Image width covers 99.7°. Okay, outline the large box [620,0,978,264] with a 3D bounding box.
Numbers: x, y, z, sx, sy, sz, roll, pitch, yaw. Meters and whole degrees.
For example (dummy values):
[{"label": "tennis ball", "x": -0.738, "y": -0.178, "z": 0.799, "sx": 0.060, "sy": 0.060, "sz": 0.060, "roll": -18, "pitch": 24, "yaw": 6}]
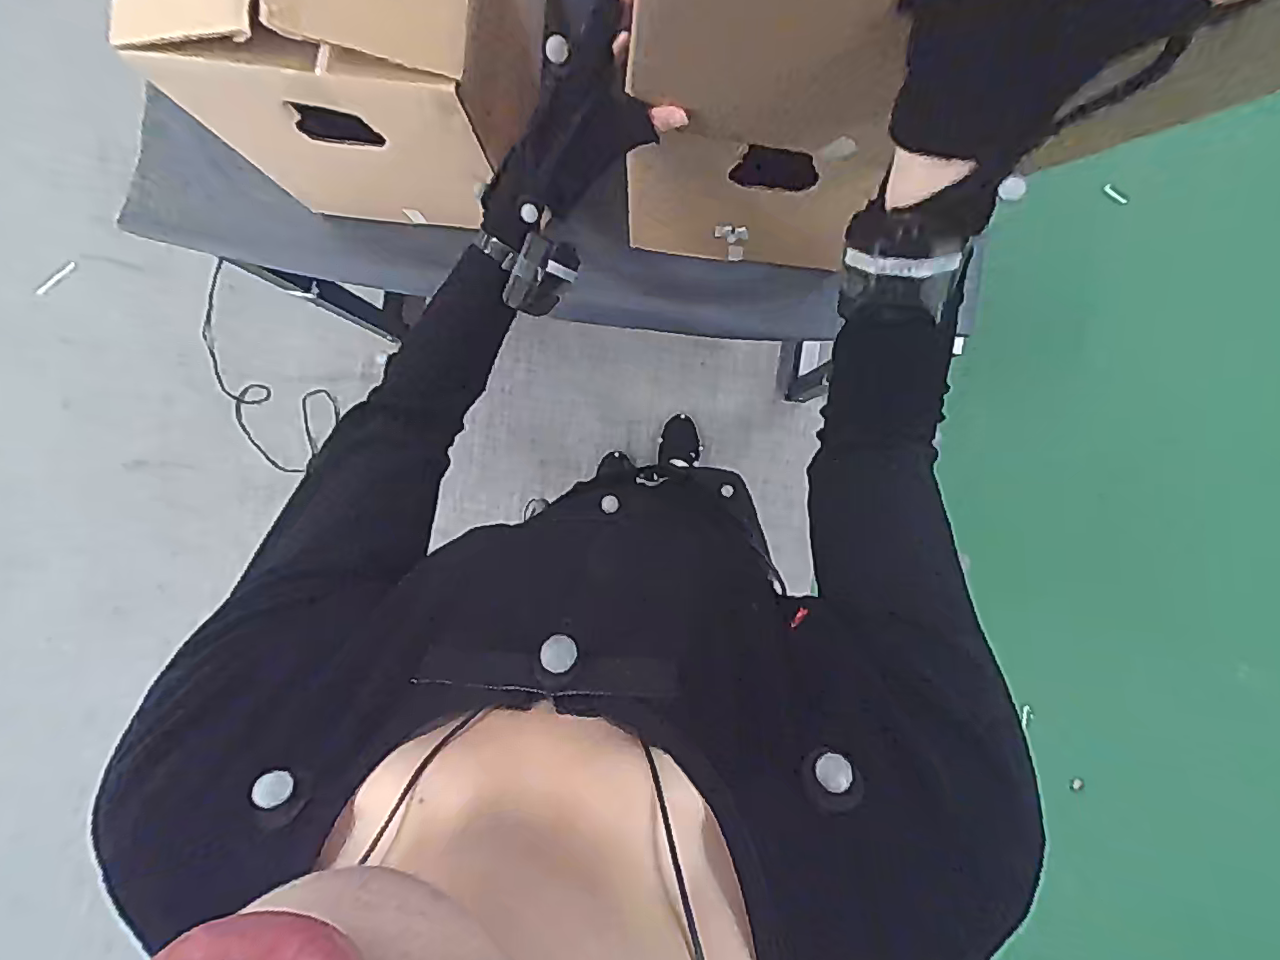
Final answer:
[{"label": "large box", "x": 0.159, "y": -0.515, "z": 0.630, "sx": 0.320, "sy": 0.320, "sz": 0.408, "roll": 7, "pitch": 90, "yaw": 1}]
